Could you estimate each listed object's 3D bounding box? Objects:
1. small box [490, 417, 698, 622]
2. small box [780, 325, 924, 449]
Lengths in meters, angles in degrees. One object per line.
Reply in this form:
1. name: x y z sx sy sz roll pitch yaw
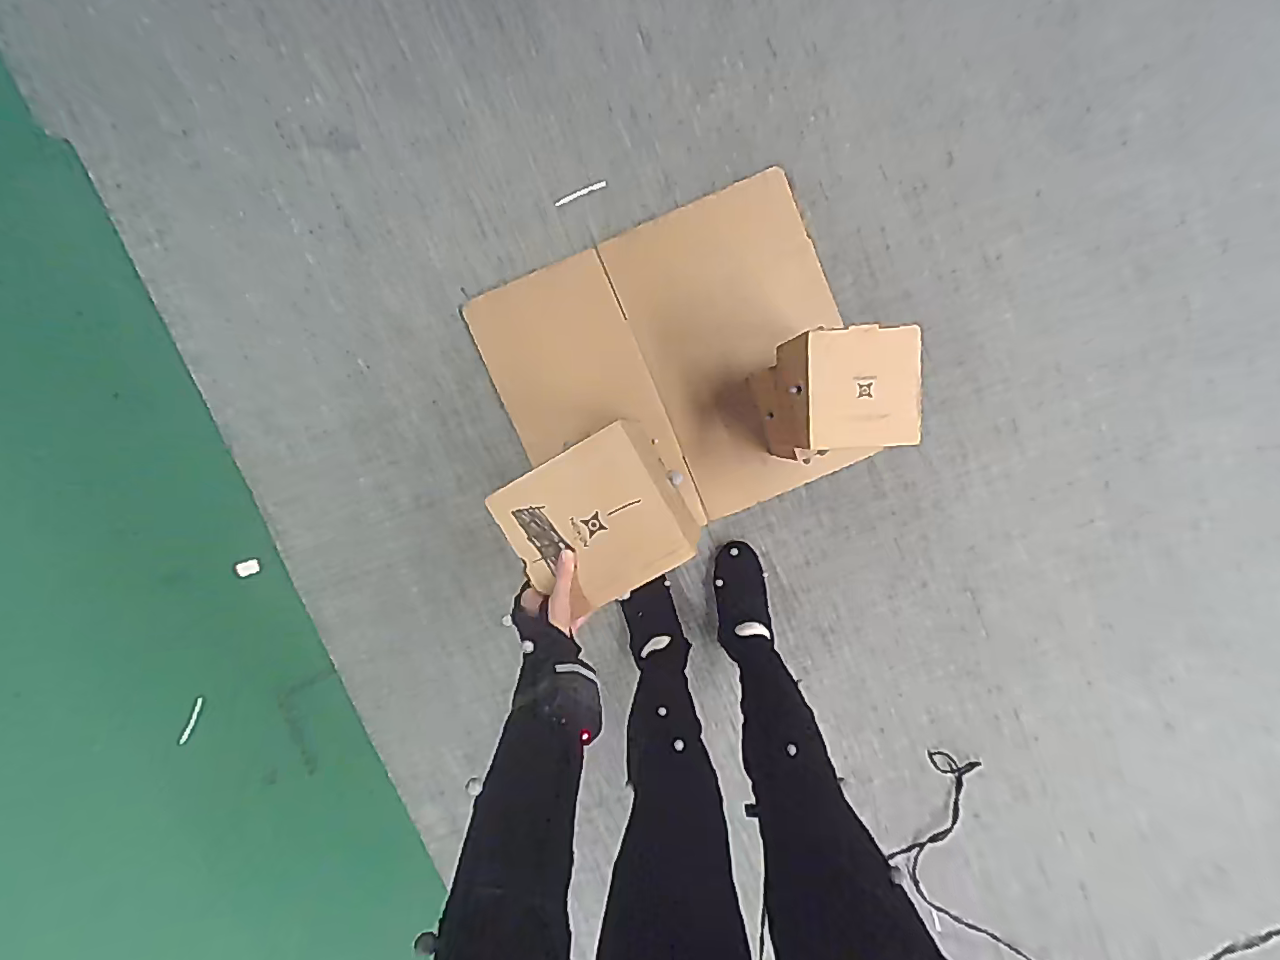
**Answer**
1. small box: -0.041 0.039 0.649 0.179 0.176 0.168 -29 91 8
2. small box: 0.324 -0.140 0.857 0.168 0.176 0.179 -2 96 -1
